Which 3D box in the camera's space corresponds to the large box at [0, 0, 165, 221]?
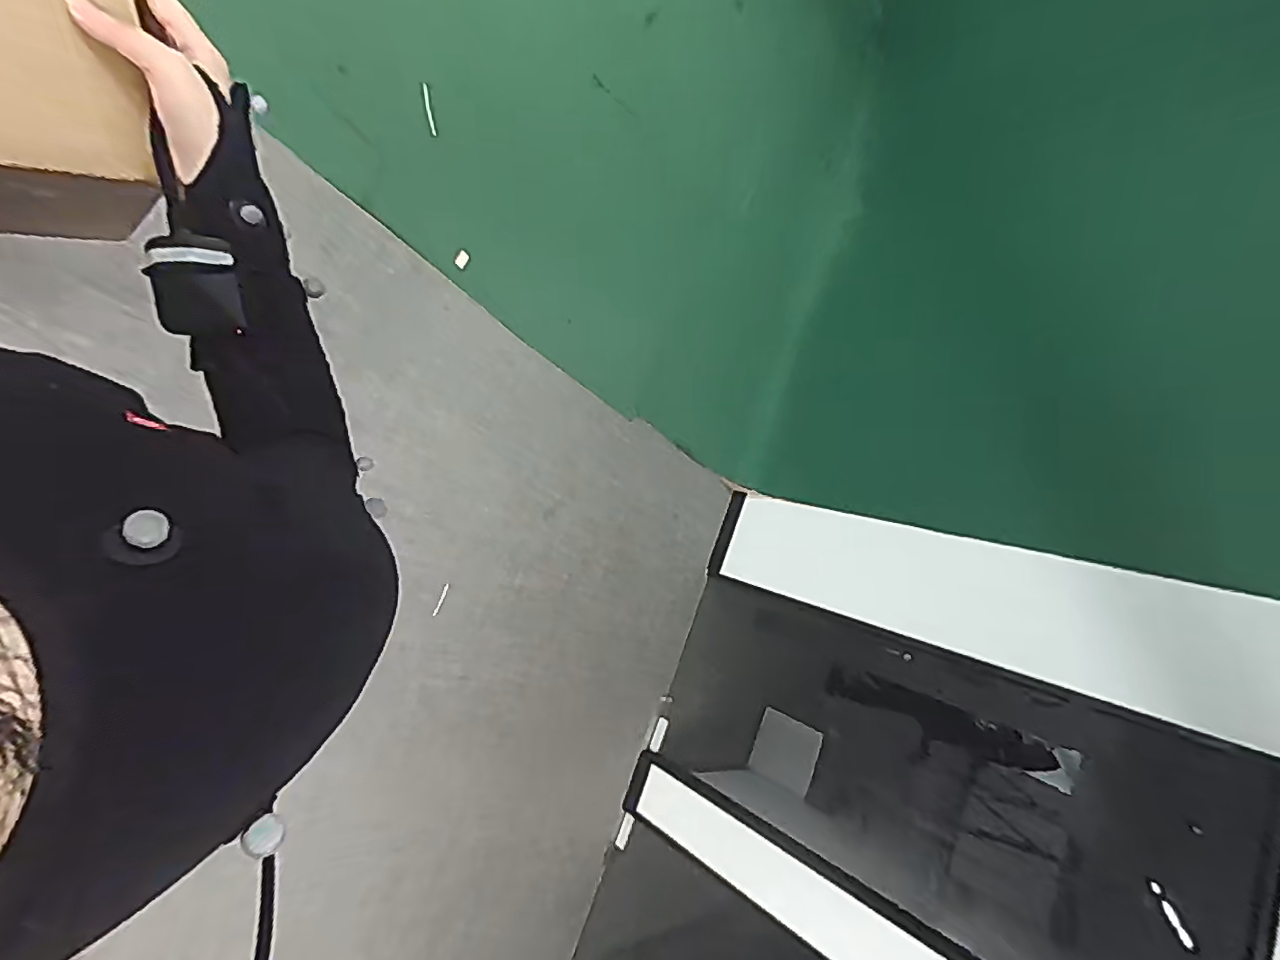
[{"bbox_3d":[-0.584,-0.348,0.296,0.408,0.320,0.320,-19,114,-46],"label":"large box"}]
